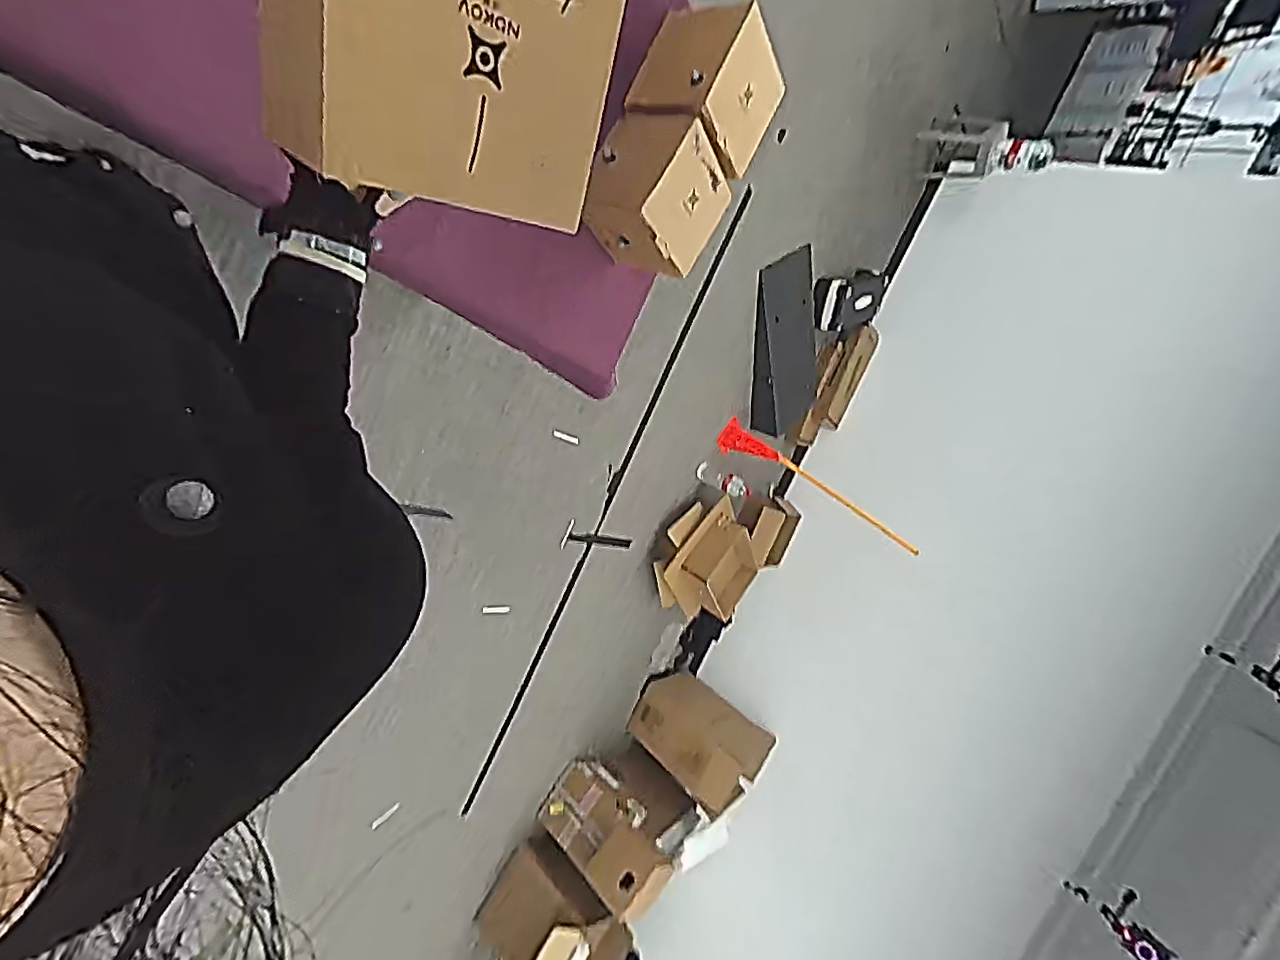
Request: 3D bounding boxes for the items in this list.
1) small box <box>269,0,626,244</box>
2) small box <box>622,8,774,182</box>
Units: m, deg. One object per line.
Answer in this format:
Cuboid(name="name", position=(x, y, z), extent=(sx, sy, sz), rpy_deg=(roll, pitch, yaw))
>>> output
Cuboid(name="small box", position=(-0.136, -0.282, 0.361), extent=(0.168, 0.176, 0.179), rpy_deg=(-7, 126, -41))
Cuboid(name="small box", position=(0.098, -0.647, 0.921), extent=(0.168, 0.176, 0.179), rpy_deg=(24, 92, -57))
